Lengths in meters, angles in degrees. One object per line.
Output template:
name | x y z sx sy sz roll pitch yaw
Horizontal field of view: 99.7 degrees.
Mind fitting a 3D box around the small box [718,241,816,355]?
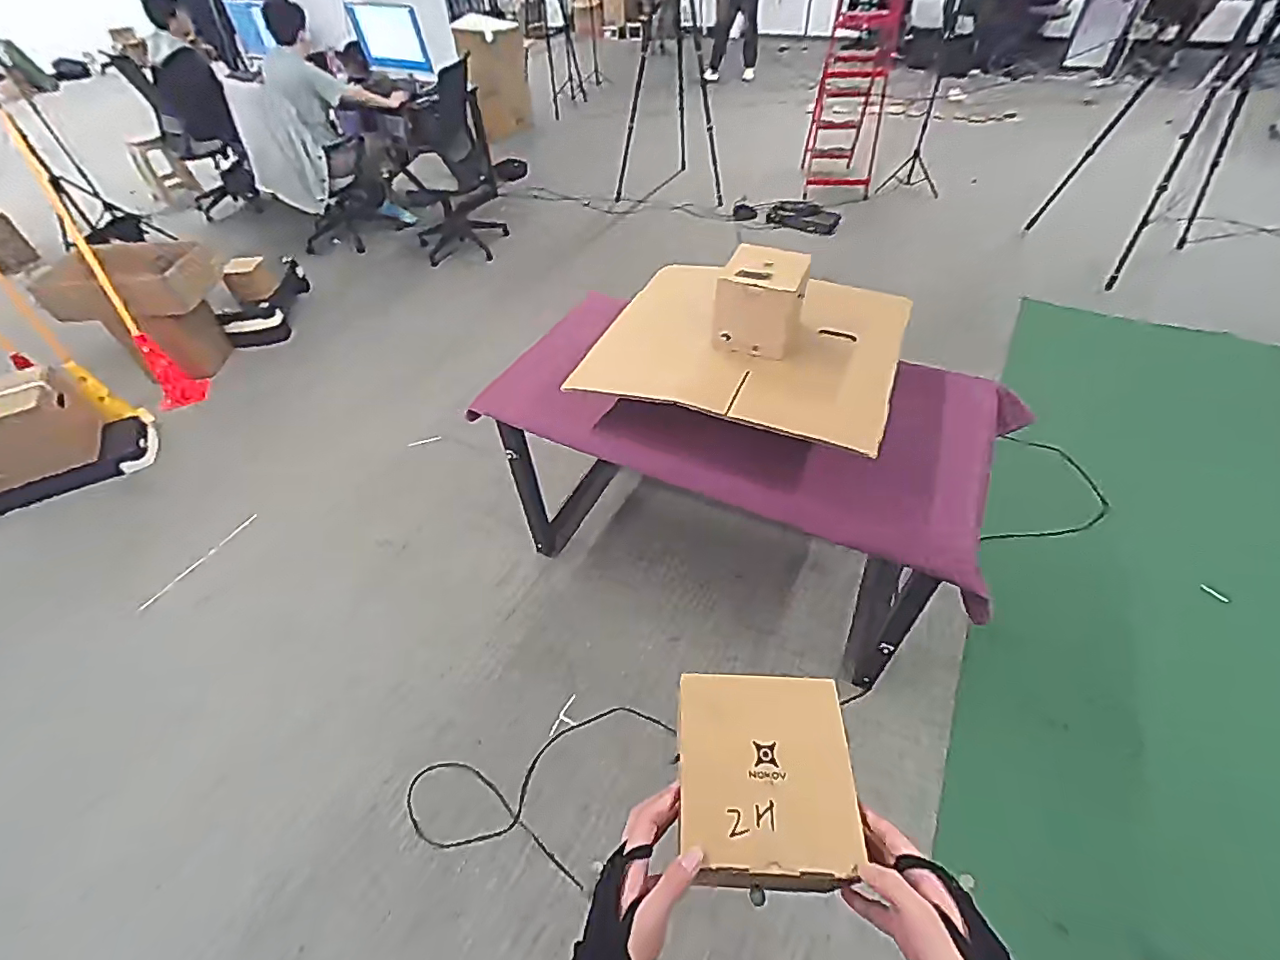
small box | 0.279 -0.405 1.208 0.168 0.176 0.179 18 51 17
